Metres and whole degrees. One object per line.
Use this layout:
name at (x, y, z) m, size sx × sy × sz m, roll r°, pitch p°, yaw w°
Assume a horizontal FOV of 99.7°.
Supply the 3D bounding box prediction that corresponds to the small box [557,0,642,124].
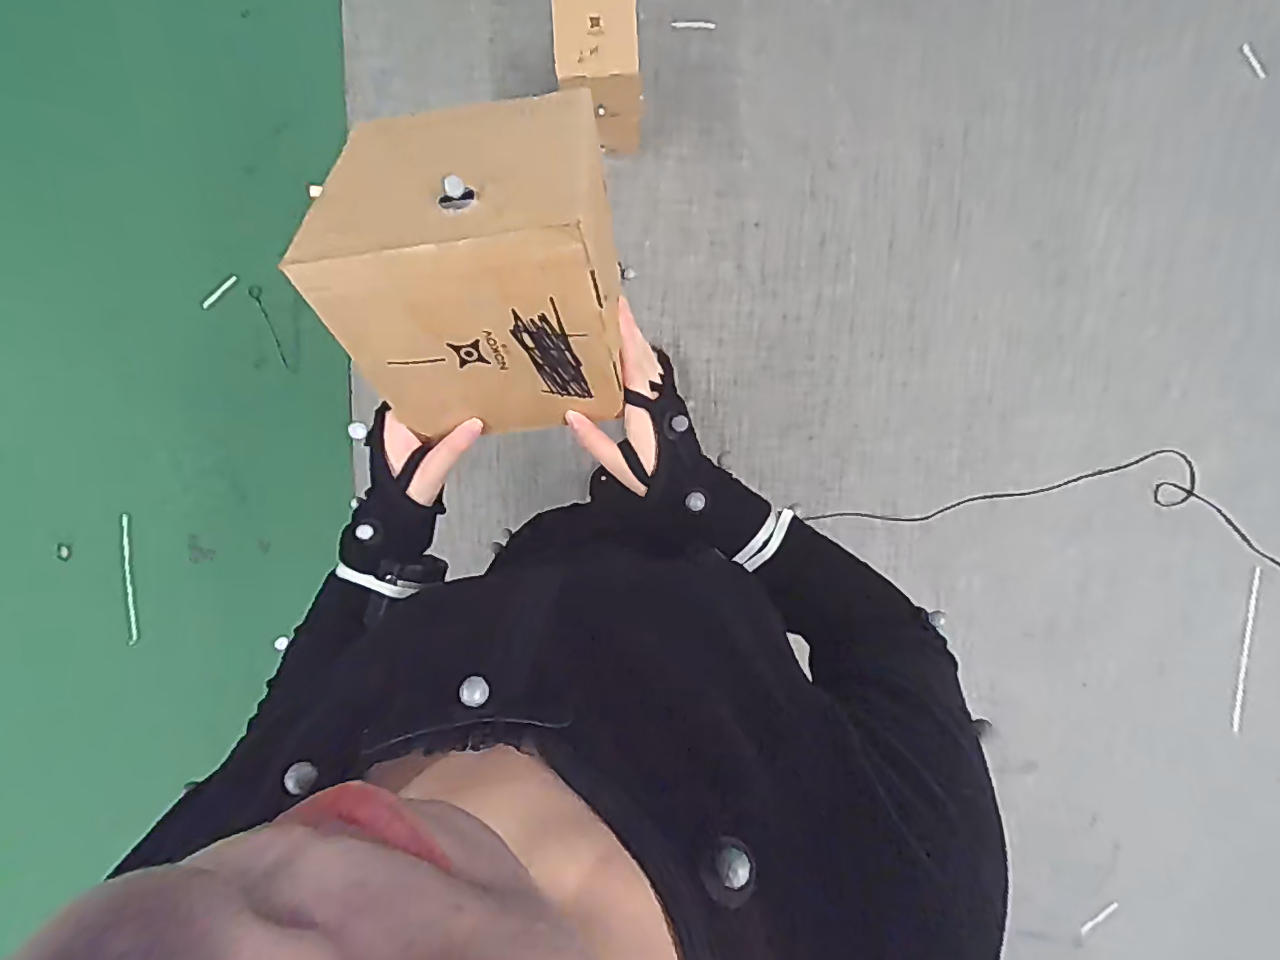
small box at (-0.080, -0.886, 1.135) m, size 0.168 × 0.176 × 0.179 m, roll -2°, pitch 98°, yaw 1°
